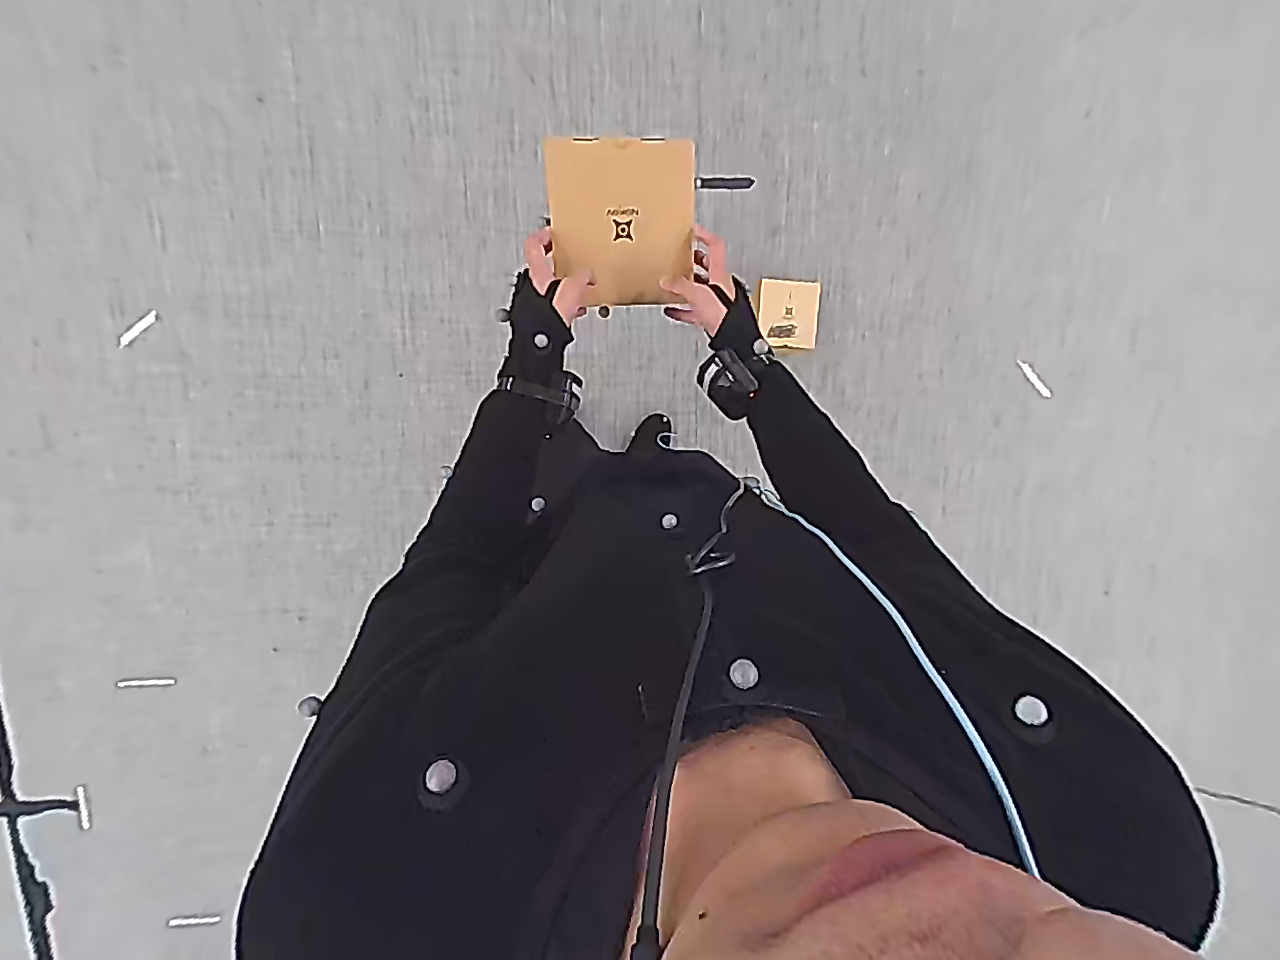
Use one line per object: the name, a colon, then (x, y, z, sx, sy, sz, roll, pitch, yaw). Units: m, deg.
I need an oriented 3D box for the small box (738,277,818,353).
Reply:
small box: (0.381, -0.456, 1.518, 0.168, 0.176, 0.179, 2, 97, -6)

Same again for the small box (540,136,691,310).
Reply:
small box: (-0.031, -0.310, 0.681, 0.168, 0.176, 0.179, -4, 108, -6)
